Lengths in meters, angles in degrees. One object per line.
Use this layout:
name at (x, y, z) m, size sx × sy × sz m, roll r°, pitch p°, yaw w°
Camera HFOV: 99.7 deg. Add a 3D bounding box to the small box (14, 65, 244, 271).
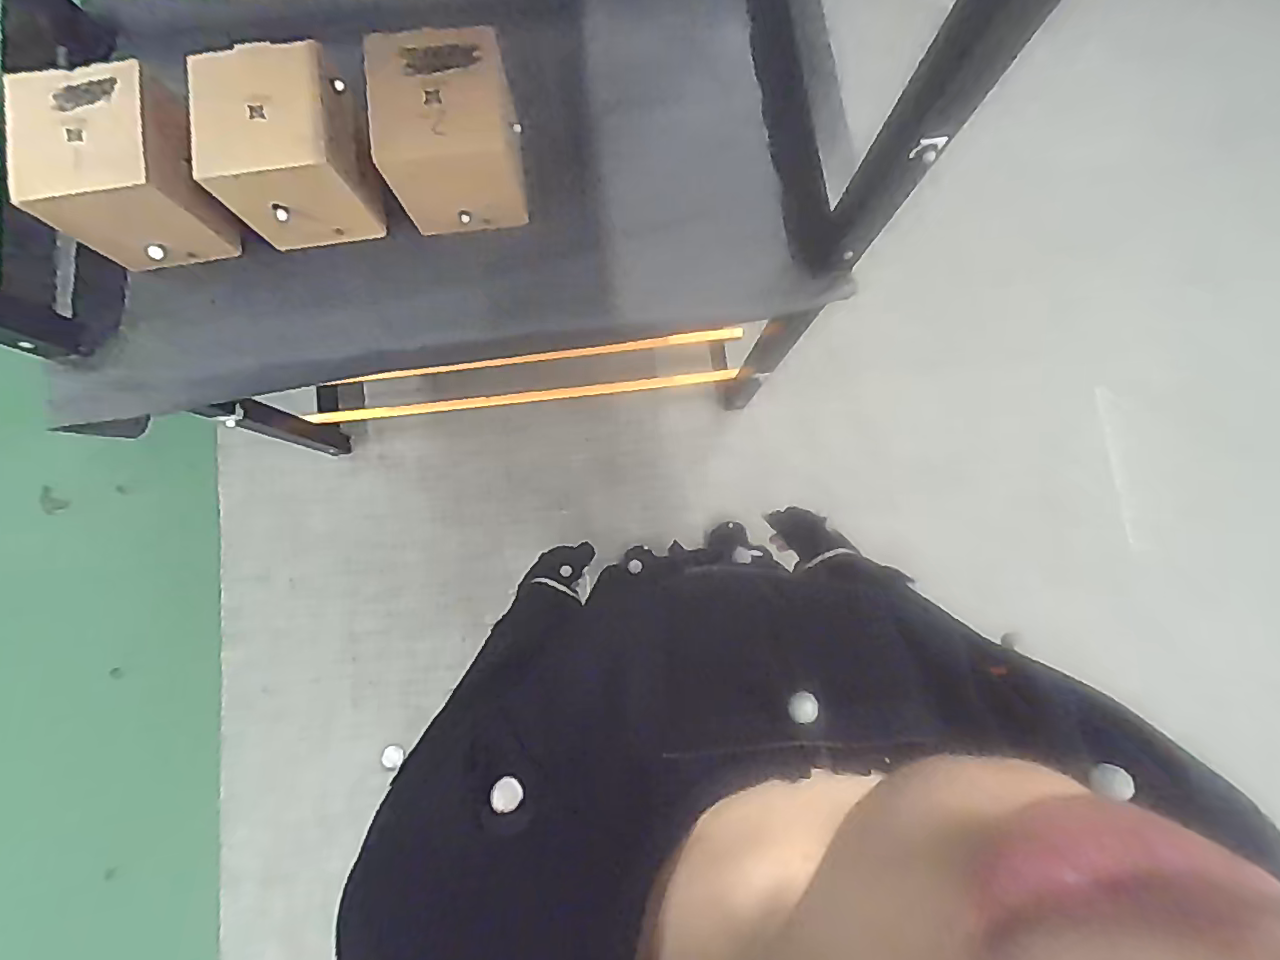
small box at (-0.692, -0.421, 0.752) m, size 0.168 × 0.176 × 0.179 m, roll -9°, pitch 83°, yaw -1°
